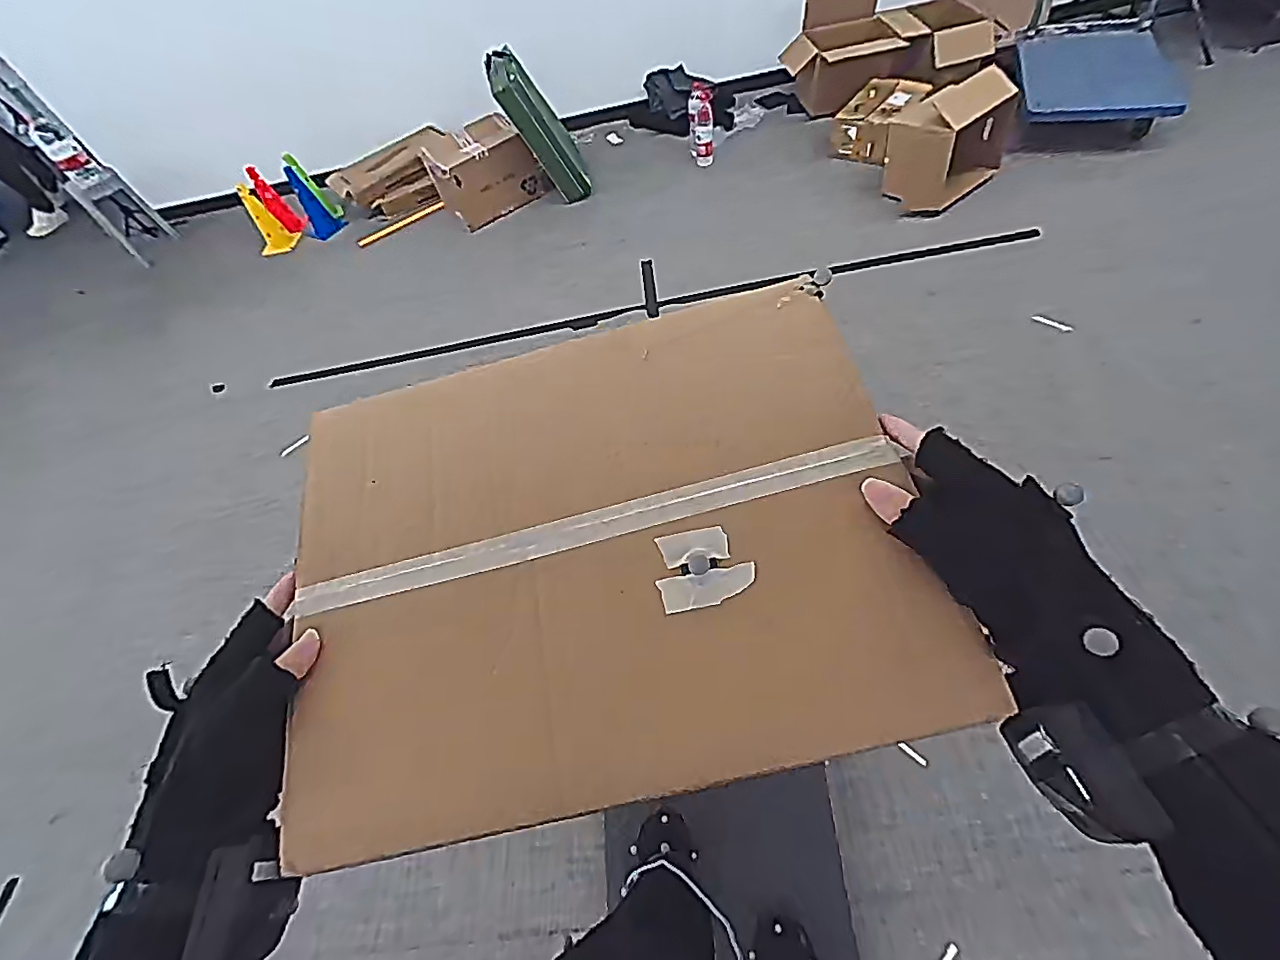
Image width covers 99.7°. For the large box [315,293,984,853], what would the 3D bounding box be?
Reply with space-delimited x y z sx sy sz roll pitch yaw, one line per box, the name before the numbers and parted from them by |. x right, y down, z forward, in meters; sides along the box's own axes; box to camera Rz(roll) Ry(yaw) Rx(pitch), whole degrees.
large box | -0.008 0.096 0.504 0.408 0.320 0.320 -15 64 3
